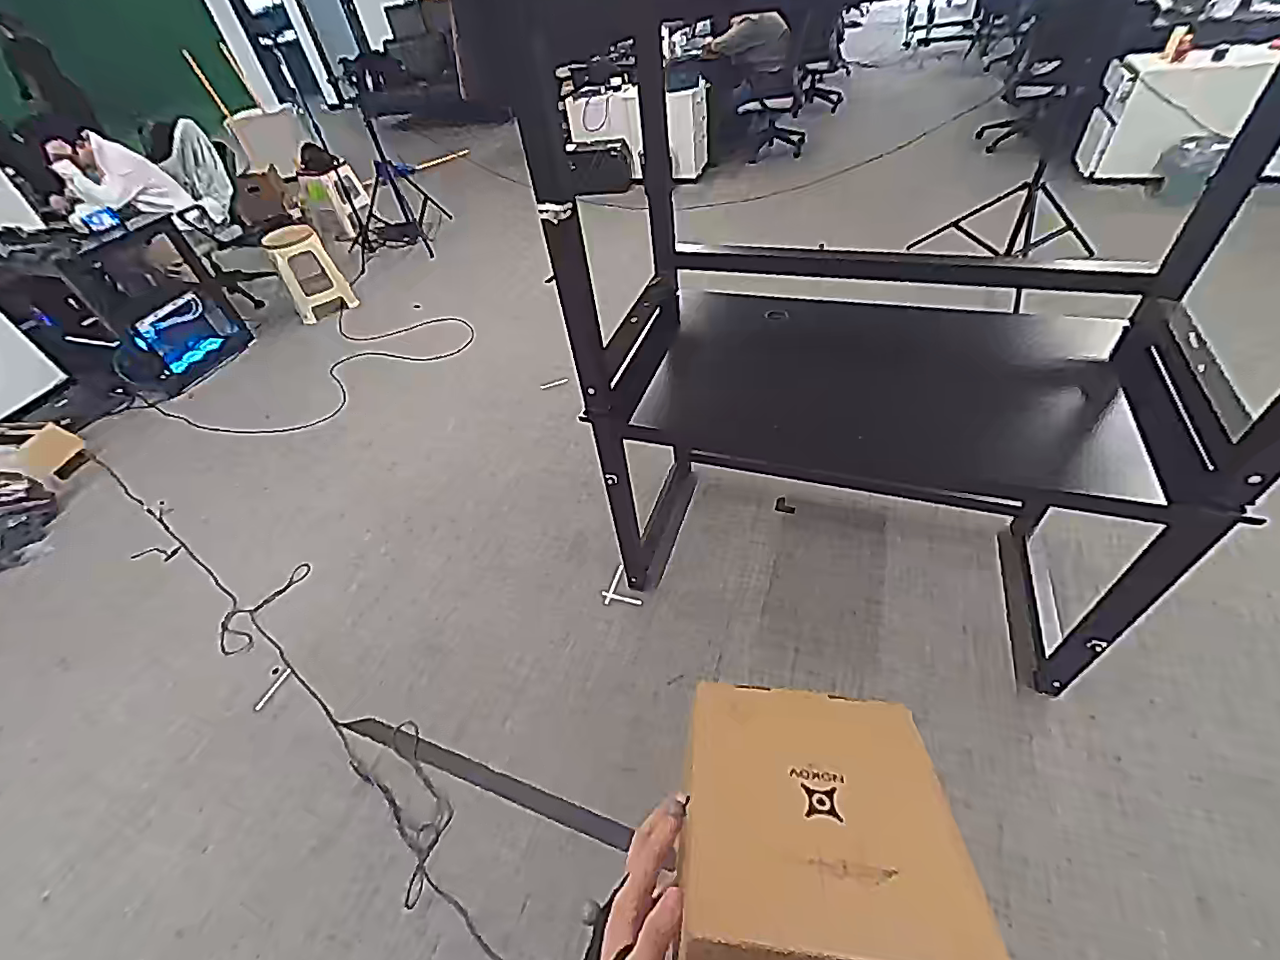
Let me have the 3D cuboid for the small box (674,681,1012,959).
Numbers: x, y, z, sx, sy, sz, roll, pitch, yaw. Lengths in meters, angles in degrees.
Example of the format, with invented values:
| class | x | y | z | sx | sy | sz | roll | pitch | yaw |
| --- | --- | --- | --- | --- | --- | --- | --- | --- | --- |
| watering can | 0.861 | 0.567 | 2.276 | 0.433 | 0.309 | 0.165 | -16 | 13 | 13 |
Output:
| class | x | y | z | sx | sy | sz | roll | pitch | yaw |
| --- | --- | --- | --- | --- | --- | --- | --- | --- | --- |
| small box | 0.113 | 0.277 | 0.382 | 0.168 | 0.176 | 0.179 | 5 | 27 | 5 |
